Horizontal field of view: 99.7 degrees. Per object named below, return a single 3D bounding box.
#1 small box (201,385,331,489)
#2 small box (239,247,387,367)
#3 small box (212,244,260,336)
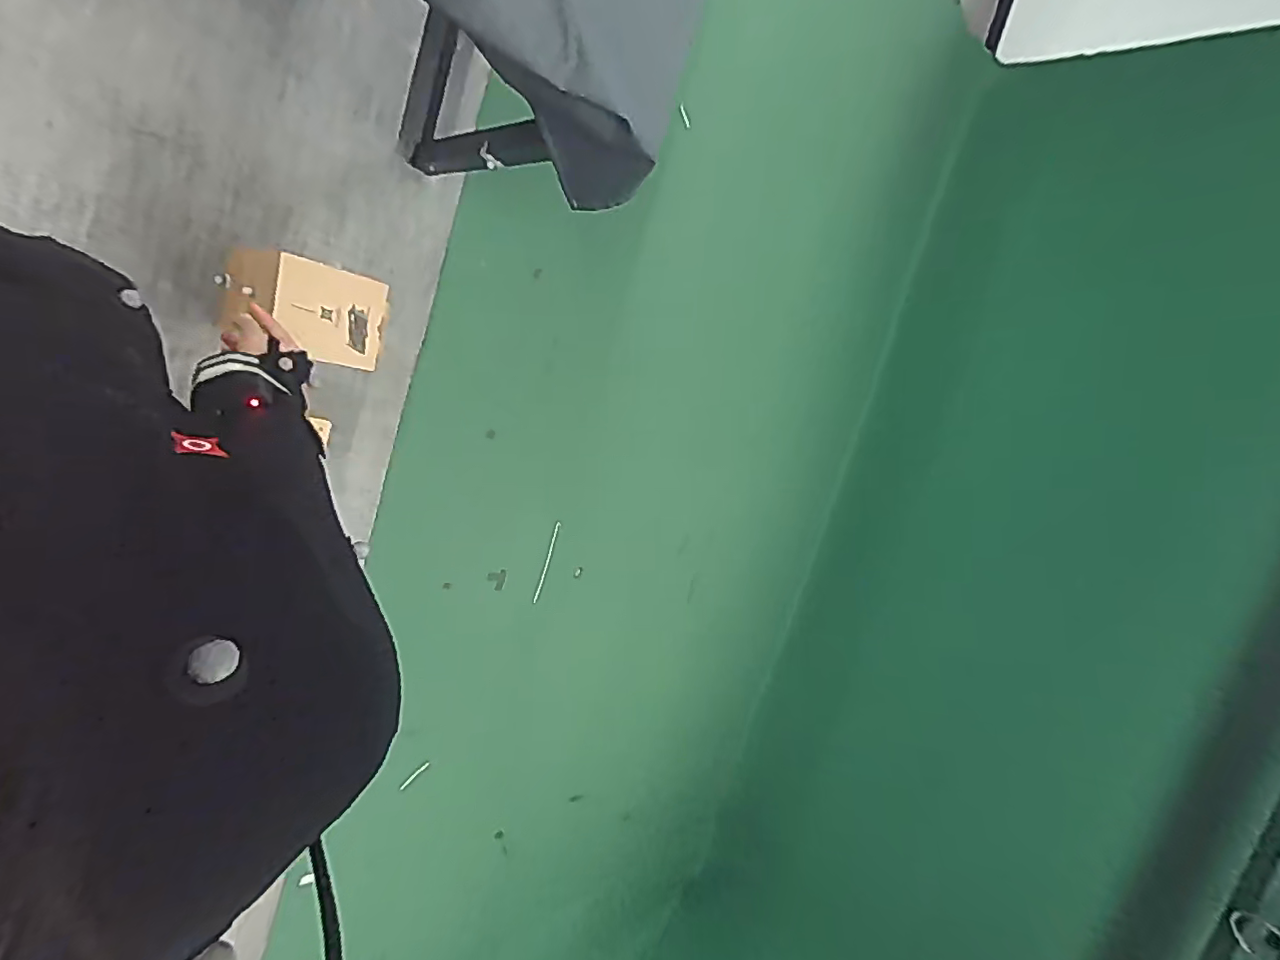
[{"bbox_3d":[-0.791,-0.093,1.138,0.179,0.176,0.168,11,100,-50],"label":"small box"},{"bbox_3d":[-0.599,-0.317,0.989,0.179,0.176,0.168,3,104,-50],"label":"small box"},{"bbox_3d":[-0.723,-0.365,1.085,0.179,0.176,0.168,3,104,-50],"label":"small box"}]
